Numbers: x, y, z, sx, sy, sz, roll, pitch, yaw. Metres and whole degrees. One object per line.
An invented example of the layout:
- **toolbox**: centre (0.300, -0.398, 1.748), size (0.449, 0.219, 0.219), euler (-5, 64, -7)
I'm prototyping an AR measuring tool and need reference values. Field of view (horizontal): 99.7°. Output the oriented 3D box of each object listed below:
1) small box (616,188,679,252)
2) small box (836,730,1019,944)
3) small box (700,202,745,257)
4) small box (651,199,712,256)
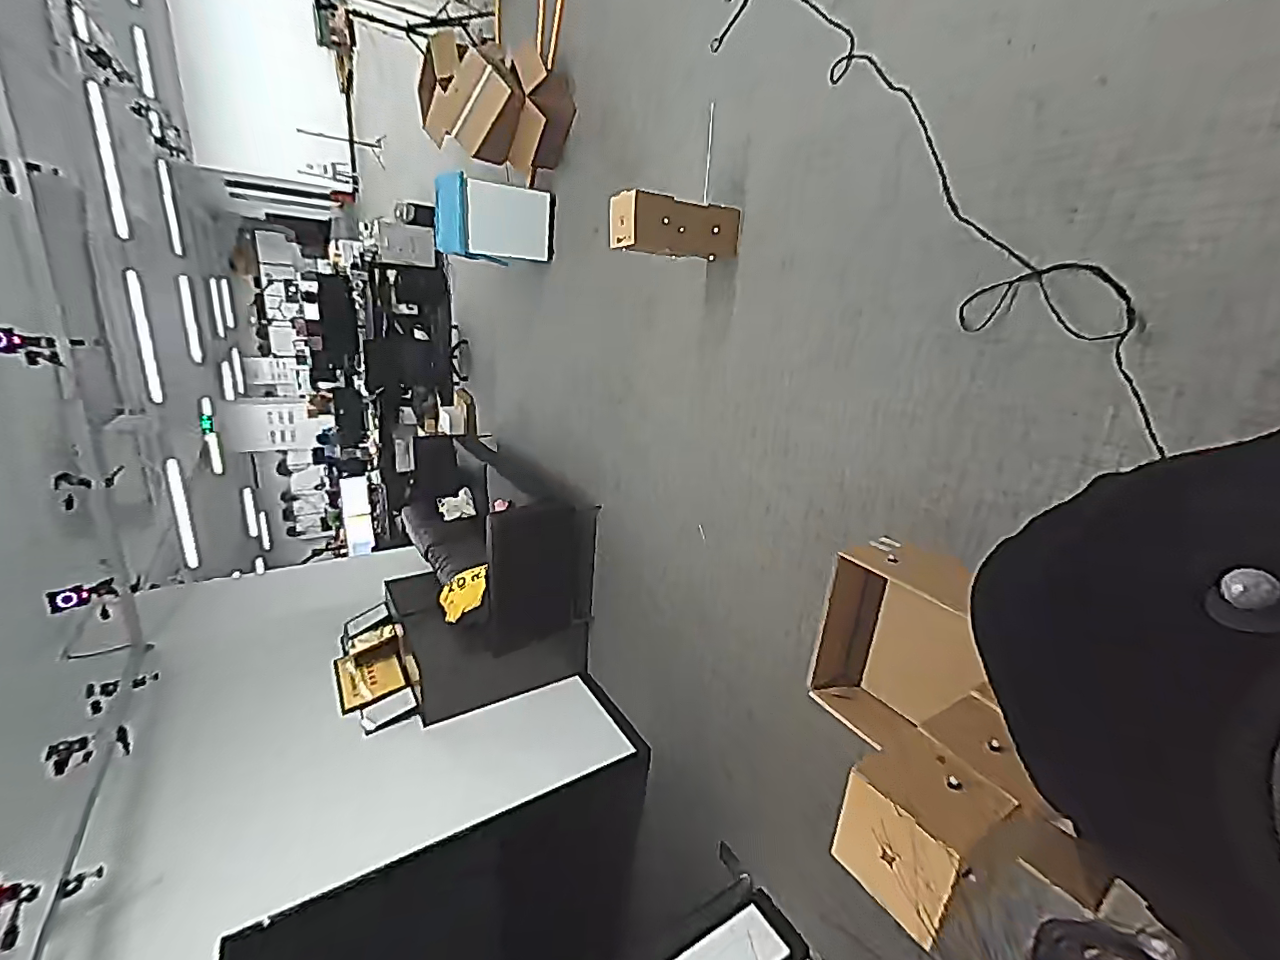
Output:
- **small box**: centre (0.028, -0.935, 1.959), size (0.168, 0.176, 0.179), euler (25, 117, 54)
- **small box**: centre (0.426, 0.519, 0.810), size (0.168, 0.176, 0.179), euler (29, 120, 53)
- **small box**: centre (0.297, -0.984, 2.139), size (0.168, 0.176, 0.179), euler (27, 119, 53)
- **small box**: centre (0.158, -0.954, 2.057), size (0.168, 0.176, 0.179), euler (27, 119, 52)
